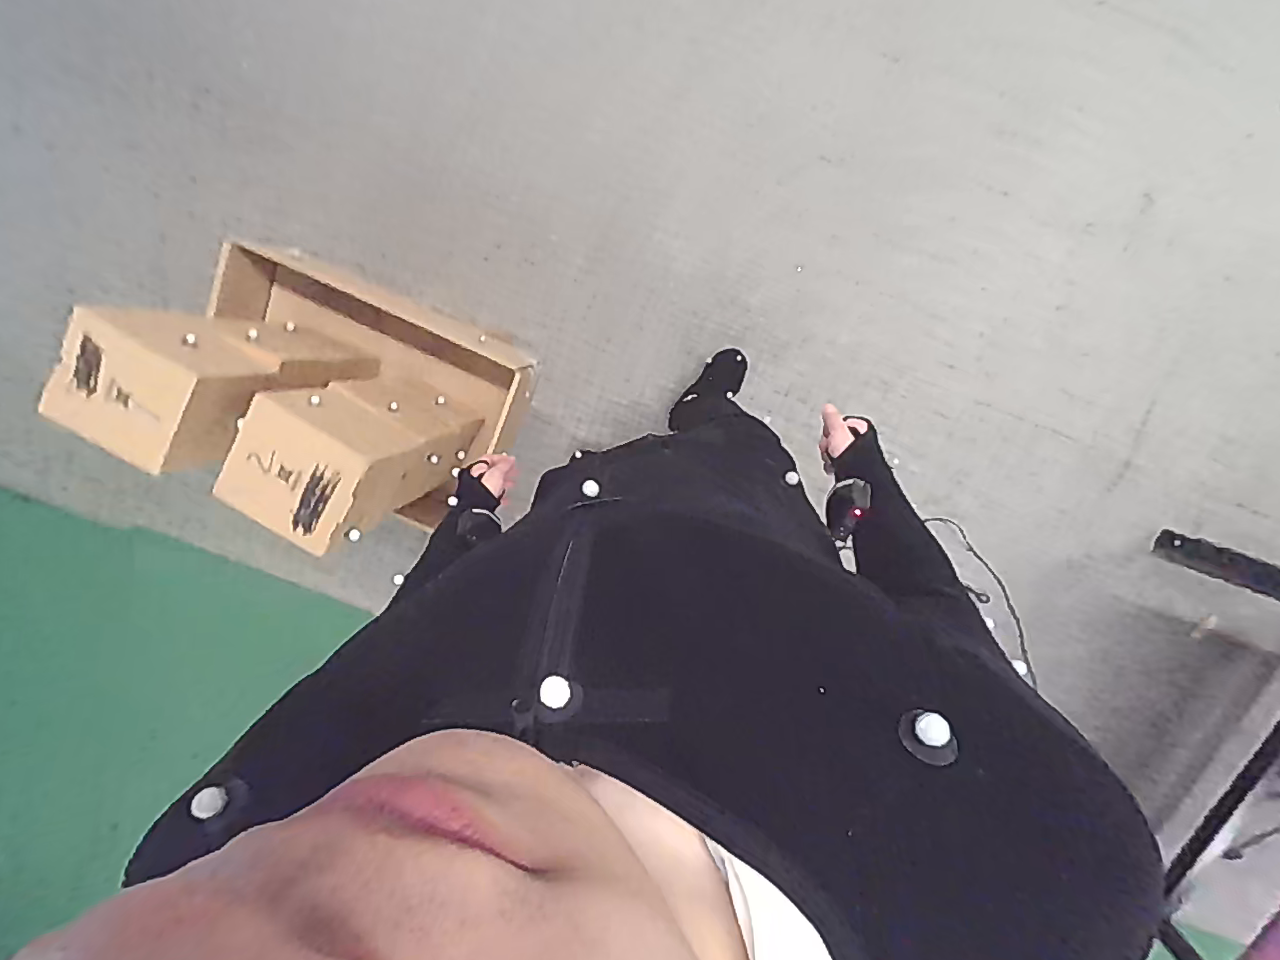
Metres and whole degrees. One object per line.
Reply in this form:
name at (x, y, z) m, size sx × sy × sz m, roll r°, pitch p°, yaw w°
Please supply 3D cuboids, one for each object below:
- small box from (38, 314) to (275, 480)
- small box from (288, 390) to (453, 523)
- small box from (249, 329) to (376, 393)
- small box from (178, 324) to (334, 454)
small box at (-0.706, -0.125, 0.809) m, size 0.179 × 0.176 × 0.168 m, roll 31°, pitch 102°, yaw -6°
small box at (-0.473, -0.053, 0.977) m, size 0.179 × 0.176 × 0.168 m, roll 34°, pitch 101°, yaw -3°
small box at (-0.692, -0.200, 1.126) m, size 0.179 × 0.176 × 0.168 m, roll 23°, pitch 103°, yaw -4°
small box at (-0.695, -0.163, 0.969) m, size 0.179 × 0.176 × 0.168 m, roll 22°, pitch 102°, yaw -4°
